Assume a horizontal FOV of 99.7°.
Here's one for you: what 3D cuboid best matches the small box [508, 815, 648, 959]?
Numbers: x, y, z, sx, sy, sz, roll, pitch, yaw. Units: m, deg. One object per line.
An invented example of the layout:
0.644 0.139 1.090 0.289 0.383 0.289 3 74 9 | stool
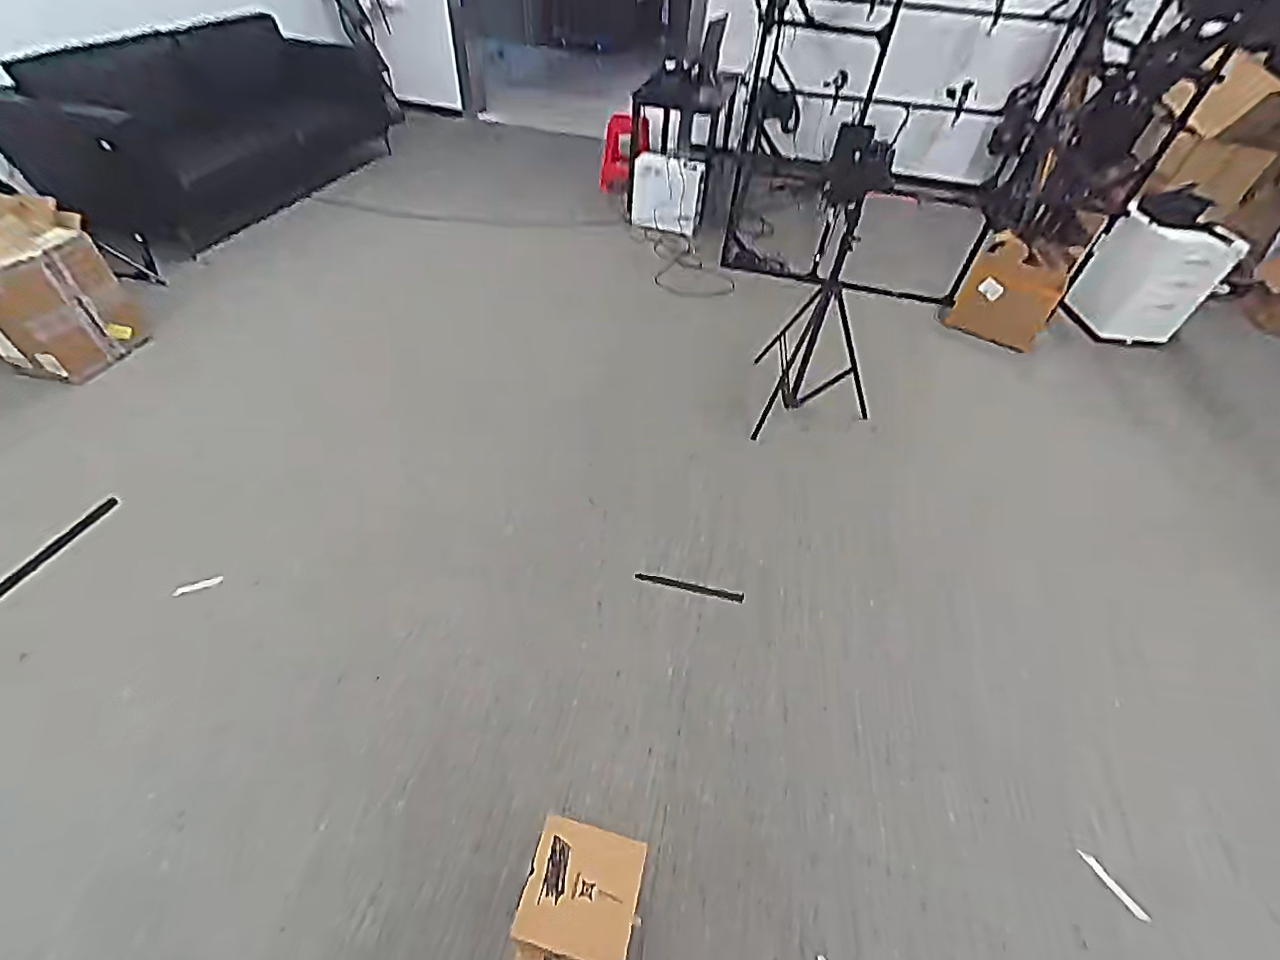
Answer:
-0.097 0.686 0.888 0.179 0.176 0.168 14 45 6 | small box
